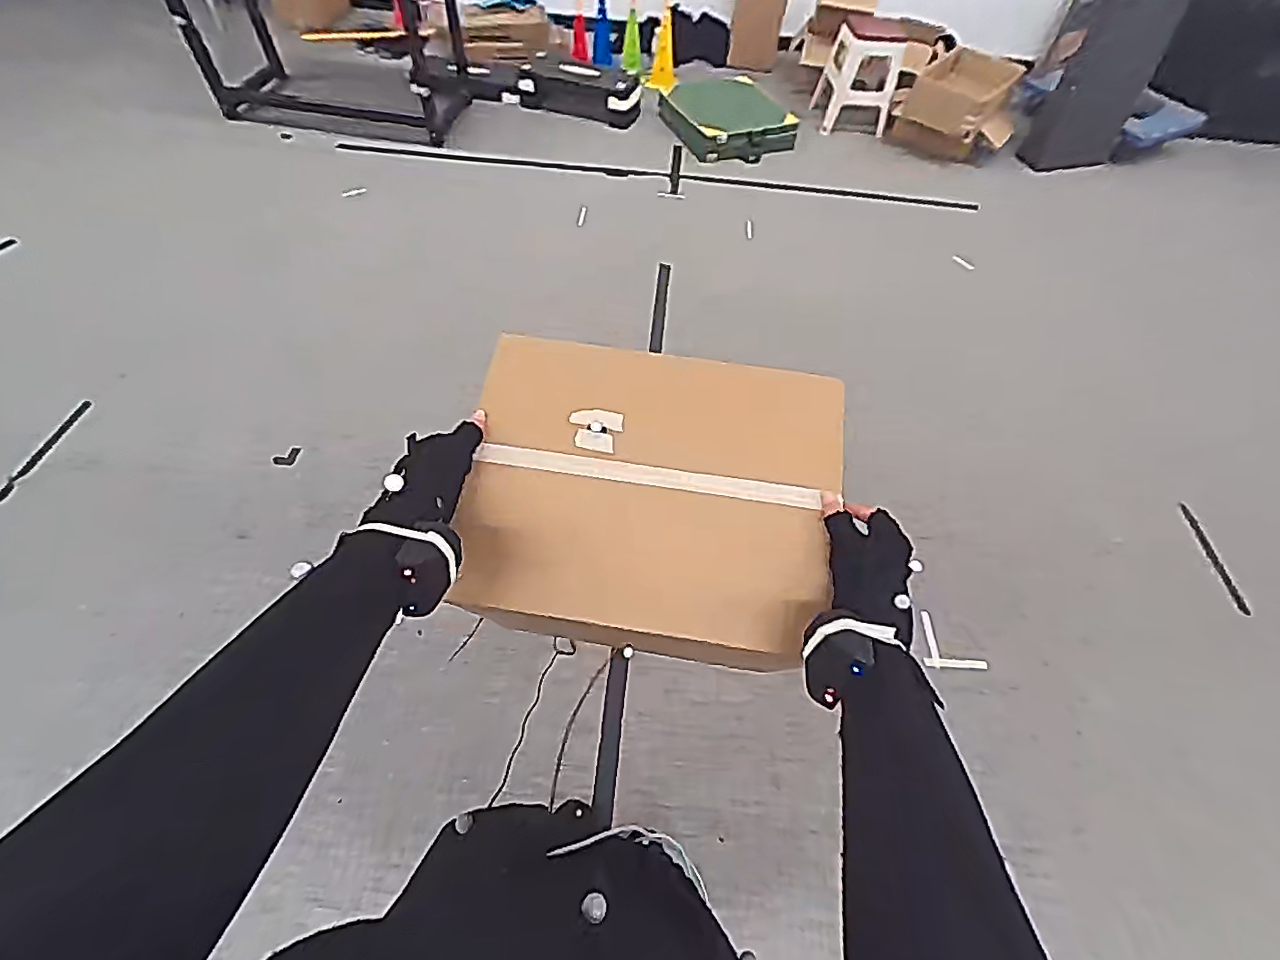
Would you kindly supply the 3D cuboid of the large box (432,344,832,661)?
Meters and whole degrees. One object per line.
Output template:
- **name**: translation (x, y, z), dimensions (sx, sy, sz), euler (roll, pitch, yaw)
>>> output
- **large box**: translation (0.010, 0.053, 0.725), dimensions (0.408, 0.320, 0.320), euler (8, 68, 4)
